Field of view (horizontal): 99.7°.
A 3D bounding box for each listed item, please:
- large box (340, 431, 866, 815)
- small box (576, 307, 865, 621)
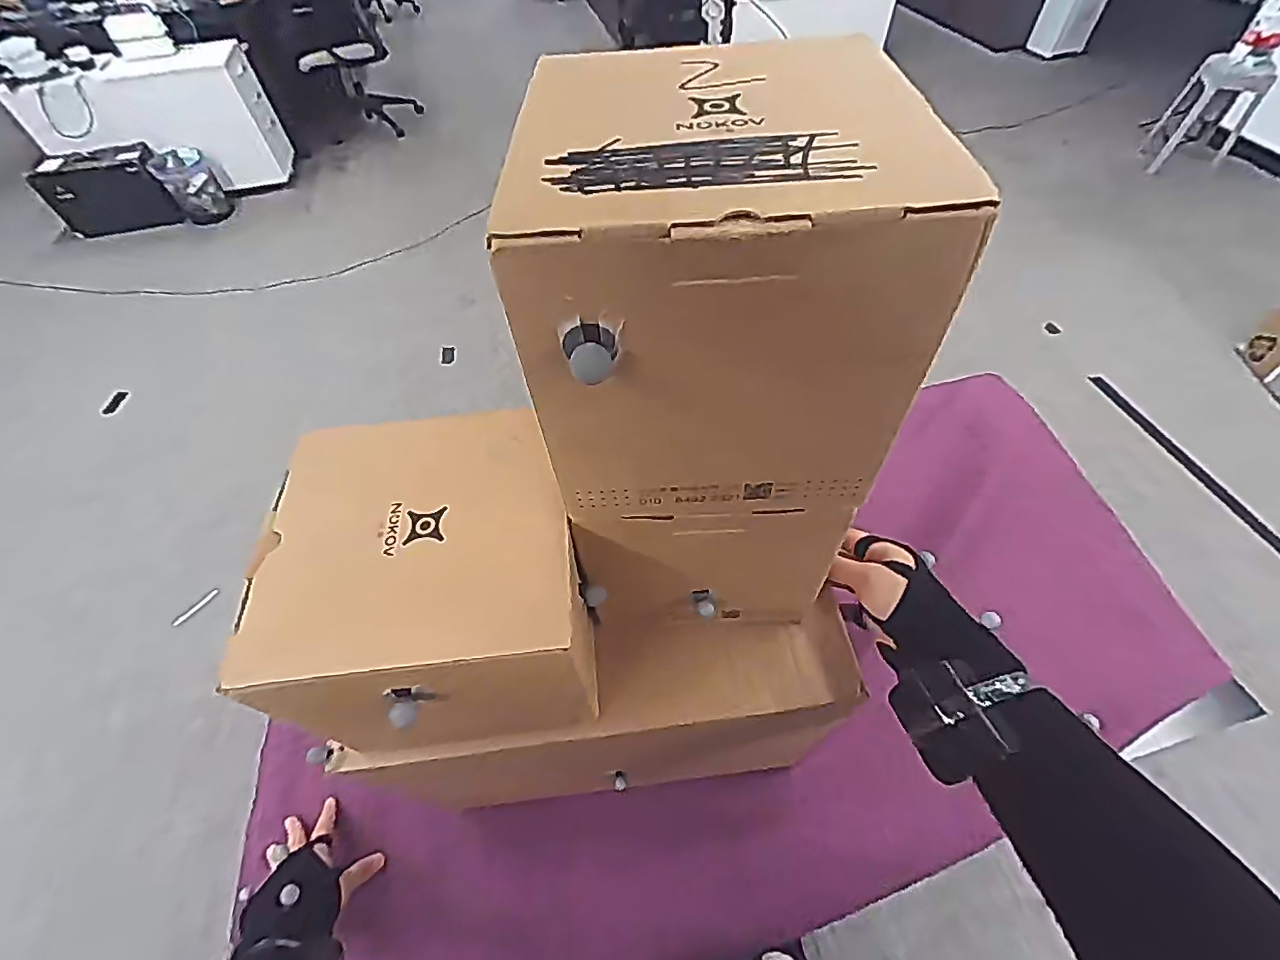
[{"bbox_3d":[-0.034,0.156,0.606,0.408,0.320,0.320,-8,52,-2],"label":"large box"},{"bbox_3d":[0.048,-0.008,0.416,0.168,0.176,0.179,-3,54,3],"label":"small box"}]
